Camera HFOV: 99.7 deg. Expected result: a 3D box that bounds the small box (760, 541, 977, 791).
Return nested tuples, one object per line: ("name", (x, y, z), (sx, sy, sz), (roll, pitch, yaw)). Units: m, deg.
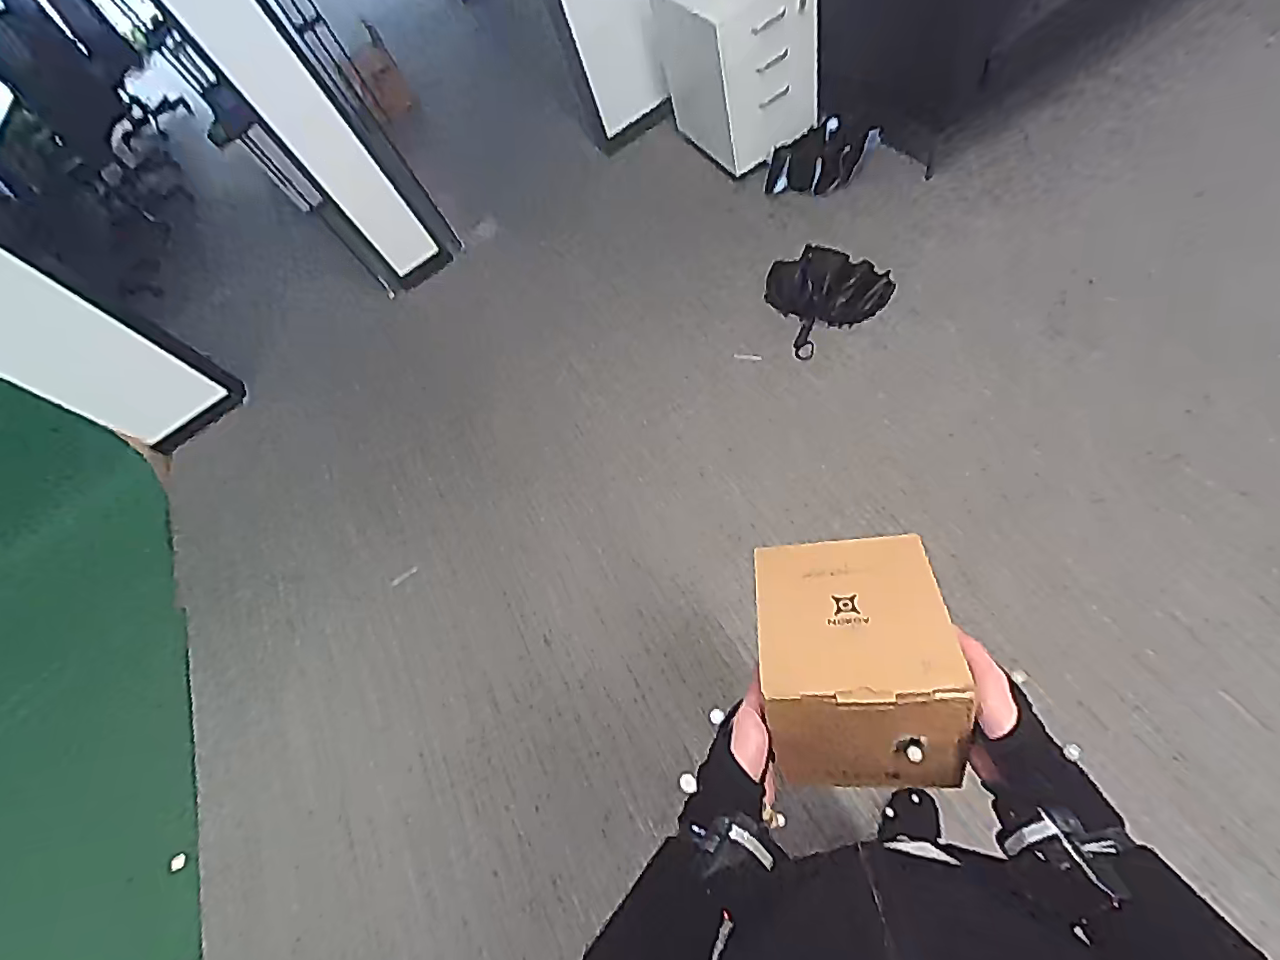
("small box", (0.214, 0.186, 0.543), (0.168, 0.176, 0.179), (-6, 34, 14))
